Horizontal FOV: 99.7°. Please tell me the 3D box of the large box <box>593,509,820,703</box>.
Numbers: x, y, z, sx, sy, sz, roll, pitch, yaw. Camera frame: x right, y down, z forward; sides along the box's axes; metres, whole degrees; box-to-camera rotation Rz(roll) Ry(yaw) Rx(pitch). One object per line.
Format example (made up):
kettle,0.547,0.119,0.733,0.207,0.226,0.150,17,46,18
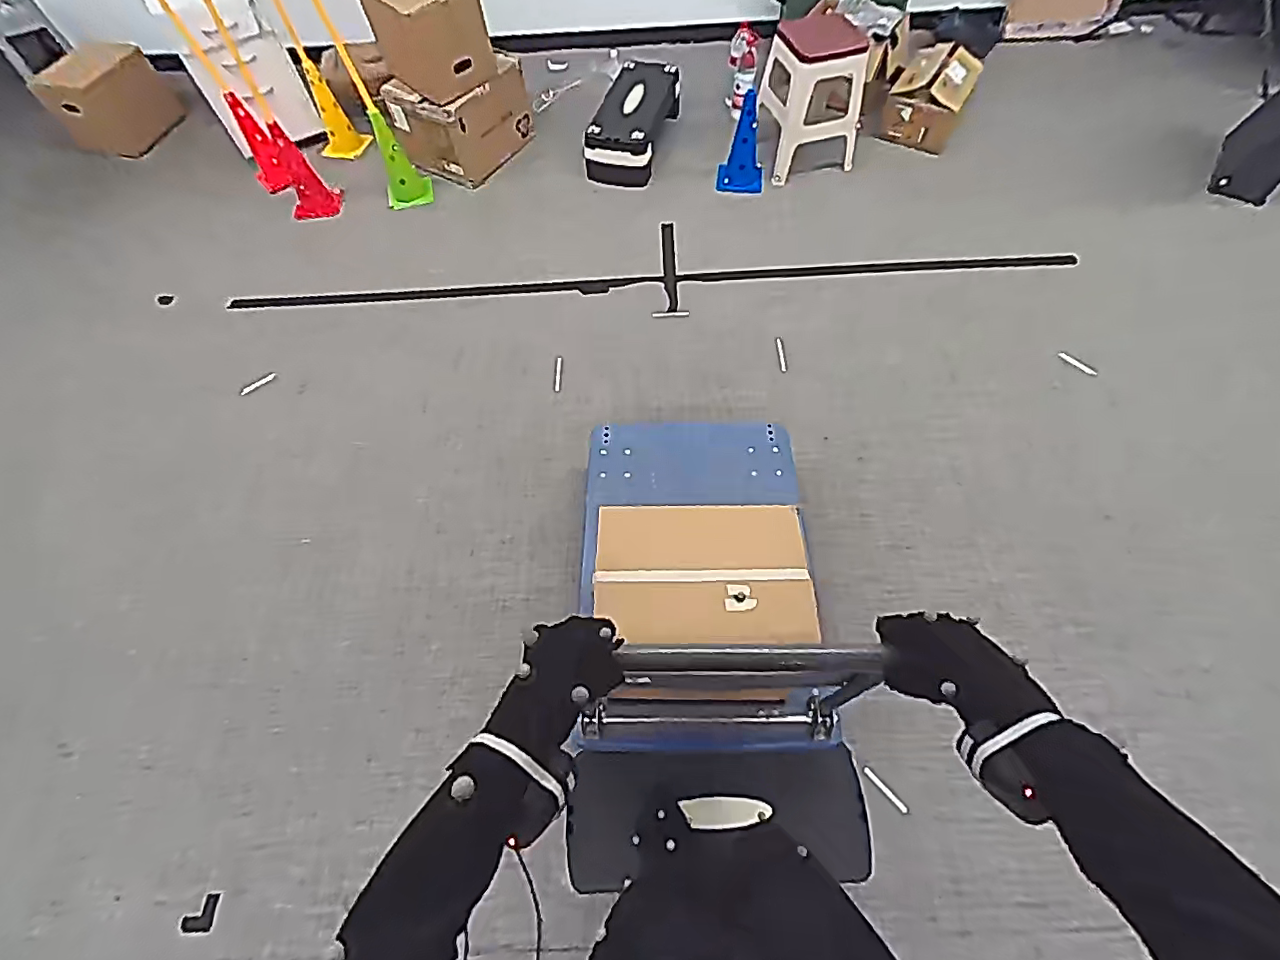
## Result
large box,0.113,0.272,1.137,0.408,0.320,0.320,-1,57,0
